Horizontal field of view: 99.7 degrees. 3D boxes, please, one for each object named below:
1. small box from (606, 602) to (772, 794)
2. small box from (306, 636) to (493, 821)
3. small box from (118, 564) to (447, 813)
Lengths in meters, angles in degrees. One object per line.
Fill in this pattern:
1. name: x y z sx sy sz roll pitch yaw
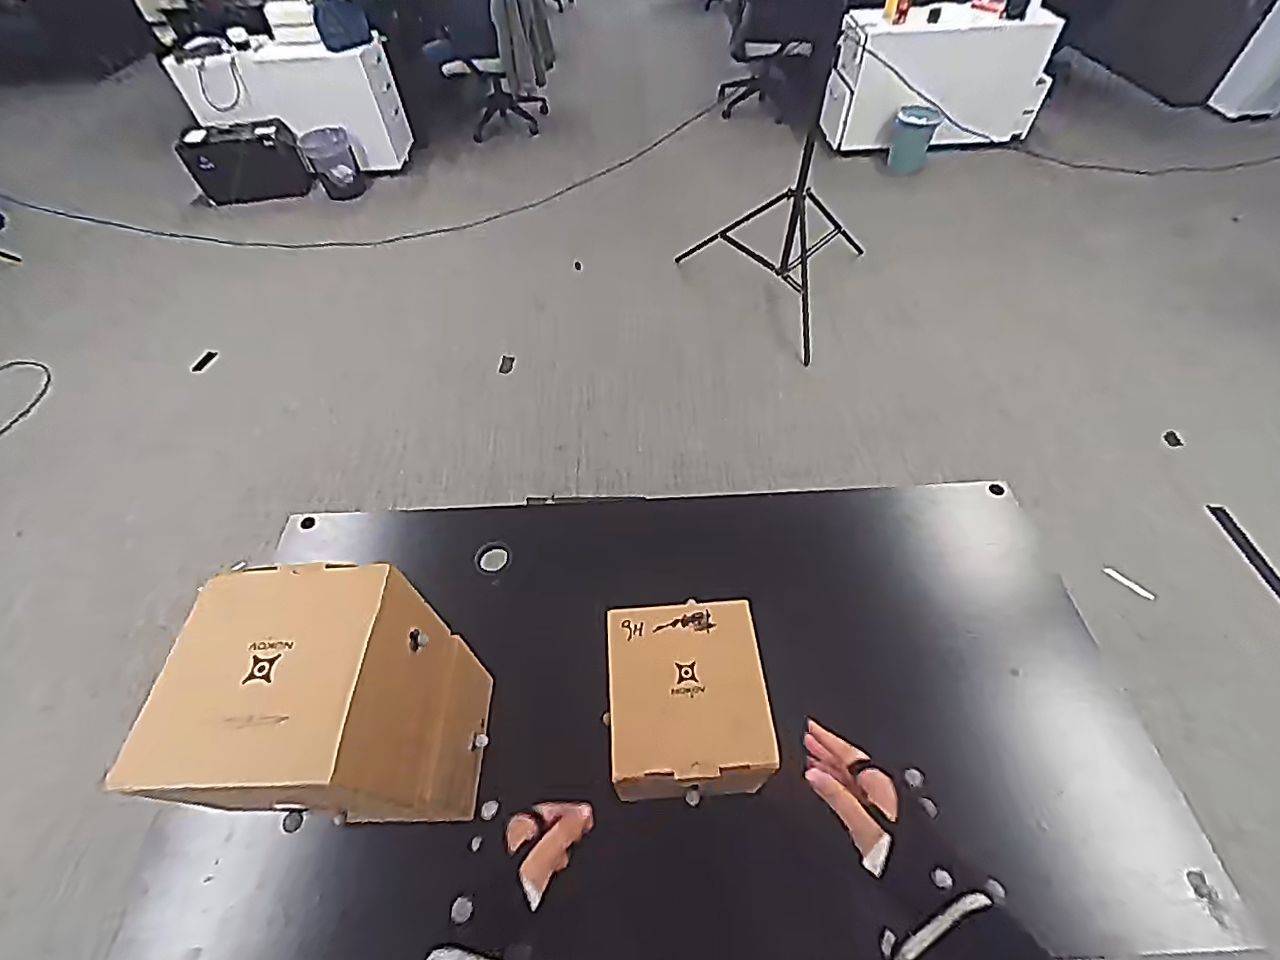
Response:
1. small box: 0.049 0.264 0.642 0.168 0.176 0.179 -4 53 -1
2. small box: -0.287 0.292 0.630 0.179 0.176 0.168 -1 53 0
3. small box: -0.294 0.195 0.500 0.168 0.176 0.179 -3 54 1
